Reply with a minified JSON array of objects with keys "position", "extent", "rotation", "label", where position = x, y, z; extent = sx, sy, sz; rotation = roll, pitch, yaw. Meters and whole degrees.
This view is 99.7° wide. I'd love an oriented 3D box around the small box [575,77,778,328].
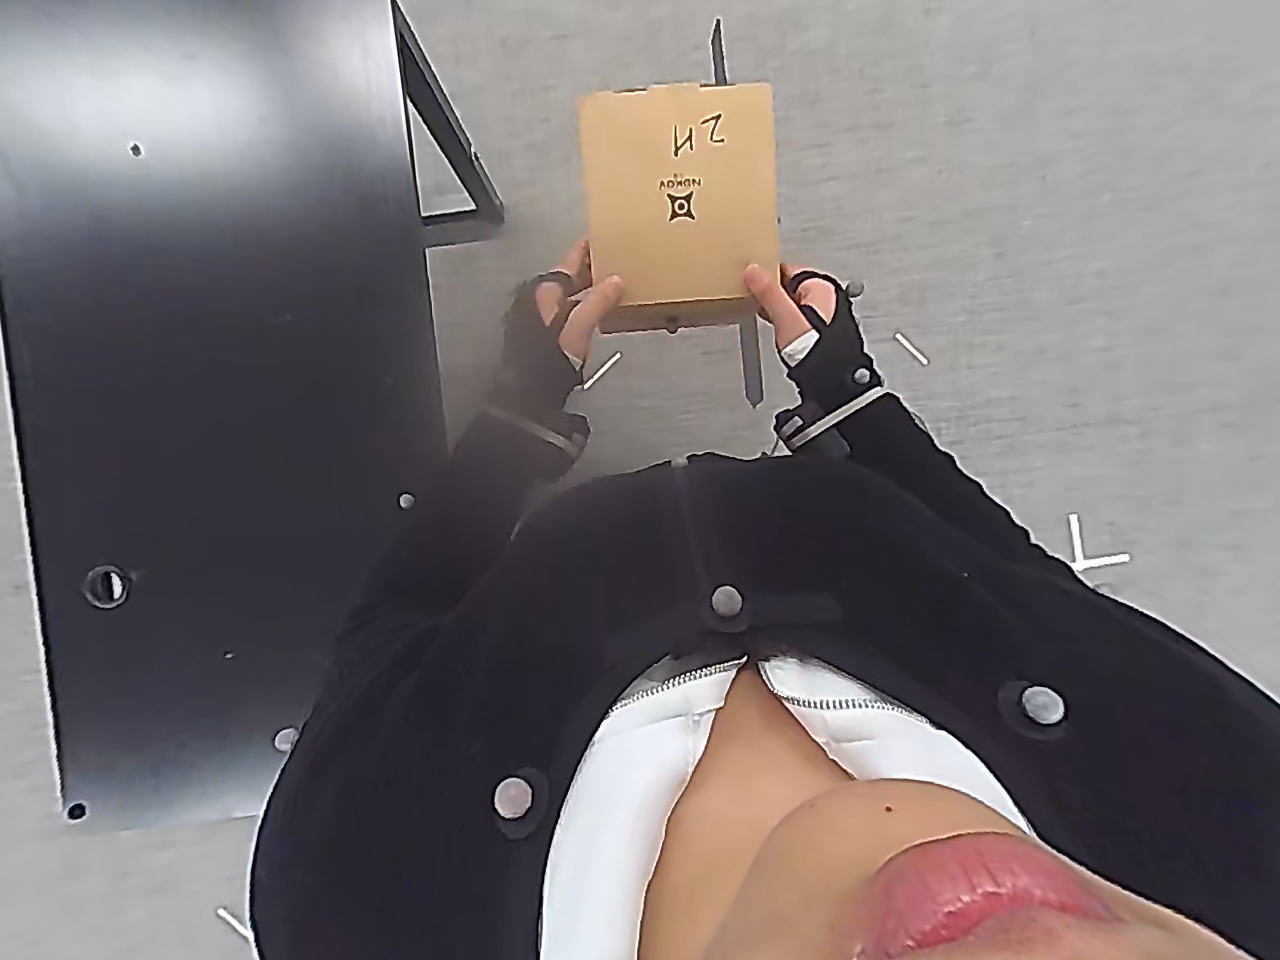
[{"position":[0.032,-0.253,0.538],"extent":[0.168,0.176,0.179],"rotation":[-6,97,-1],"label":"small box"}]
